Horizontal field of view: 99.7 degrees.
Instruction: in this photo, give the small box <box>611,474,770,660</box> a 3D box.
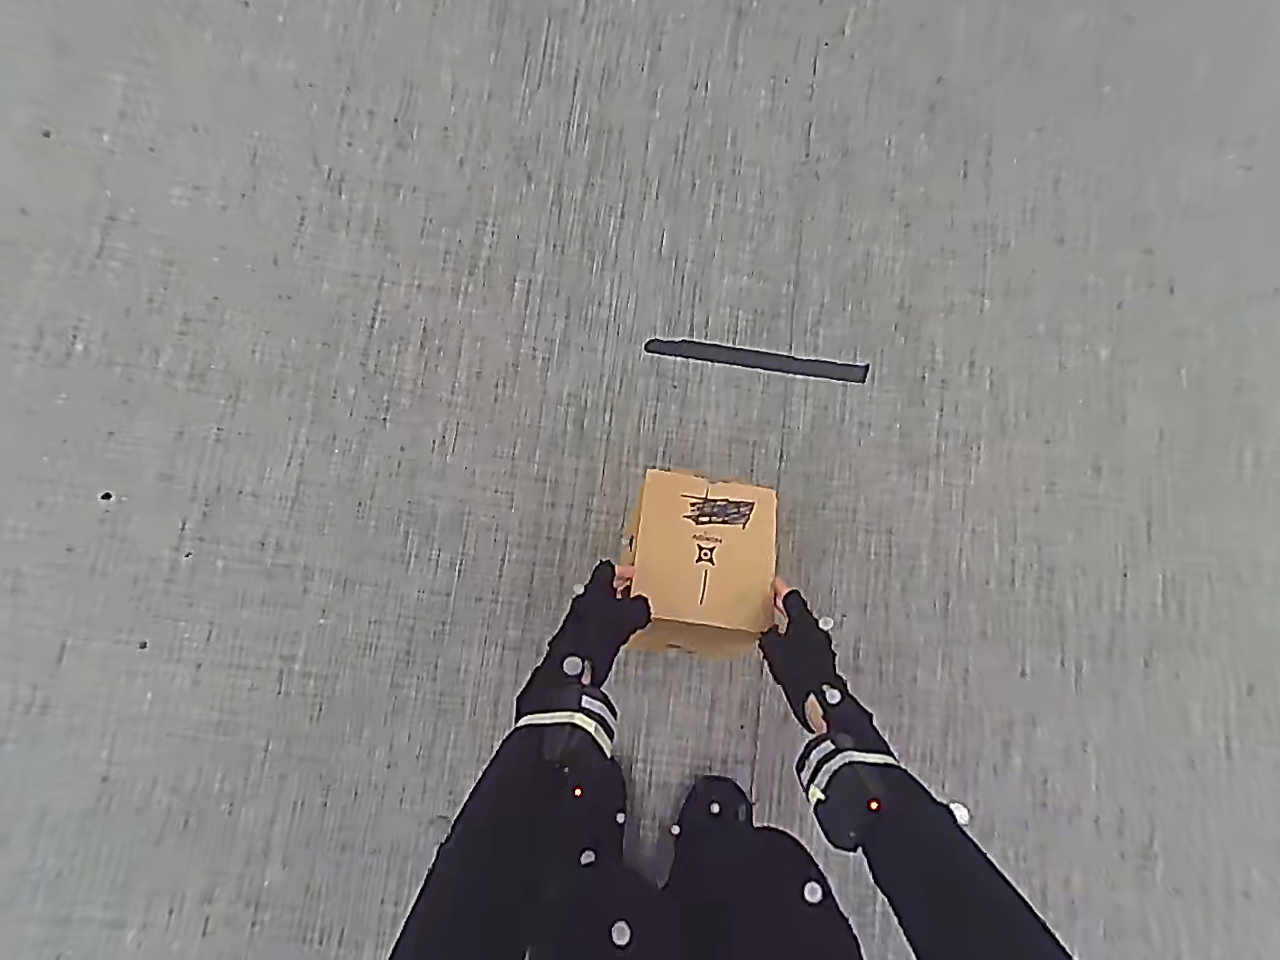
[{"bbox_3d":[0.059,0.119,0.697,0.168,0.176,0.179,10,61,-5],"label":"small box"}]
